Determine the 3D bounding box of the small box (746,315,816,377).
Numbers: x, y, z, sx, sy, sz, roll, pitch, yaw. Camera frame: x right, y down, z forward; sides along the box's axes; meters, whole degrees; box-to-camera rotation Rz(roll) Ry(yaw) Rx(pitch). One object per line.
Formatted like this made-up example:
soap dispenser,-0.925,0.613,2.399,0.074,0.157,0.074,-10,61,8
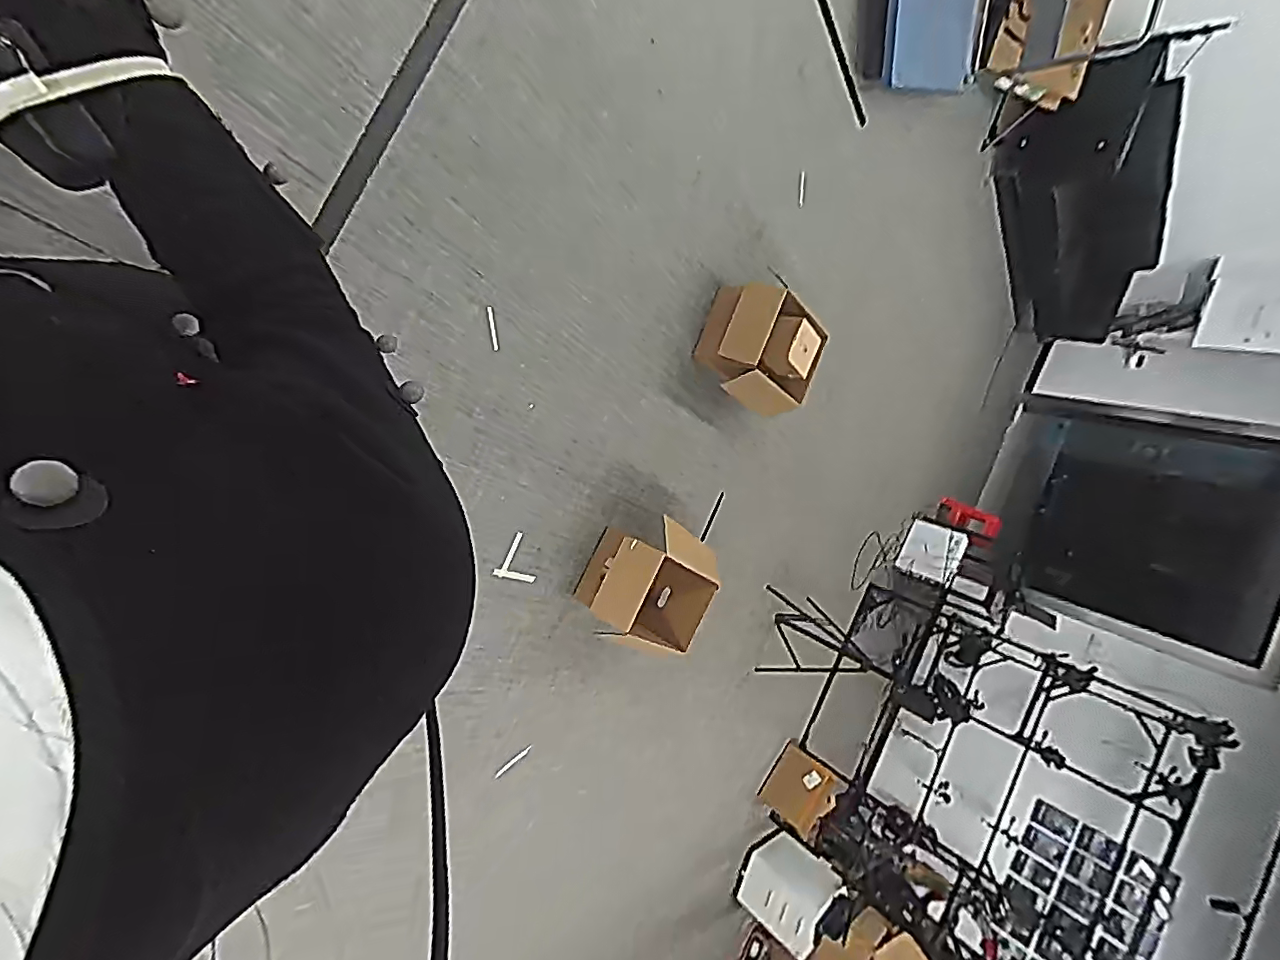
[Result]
small box,0.540,-0.519,2.074,0.179,0.176,0.168,26,86,-48
